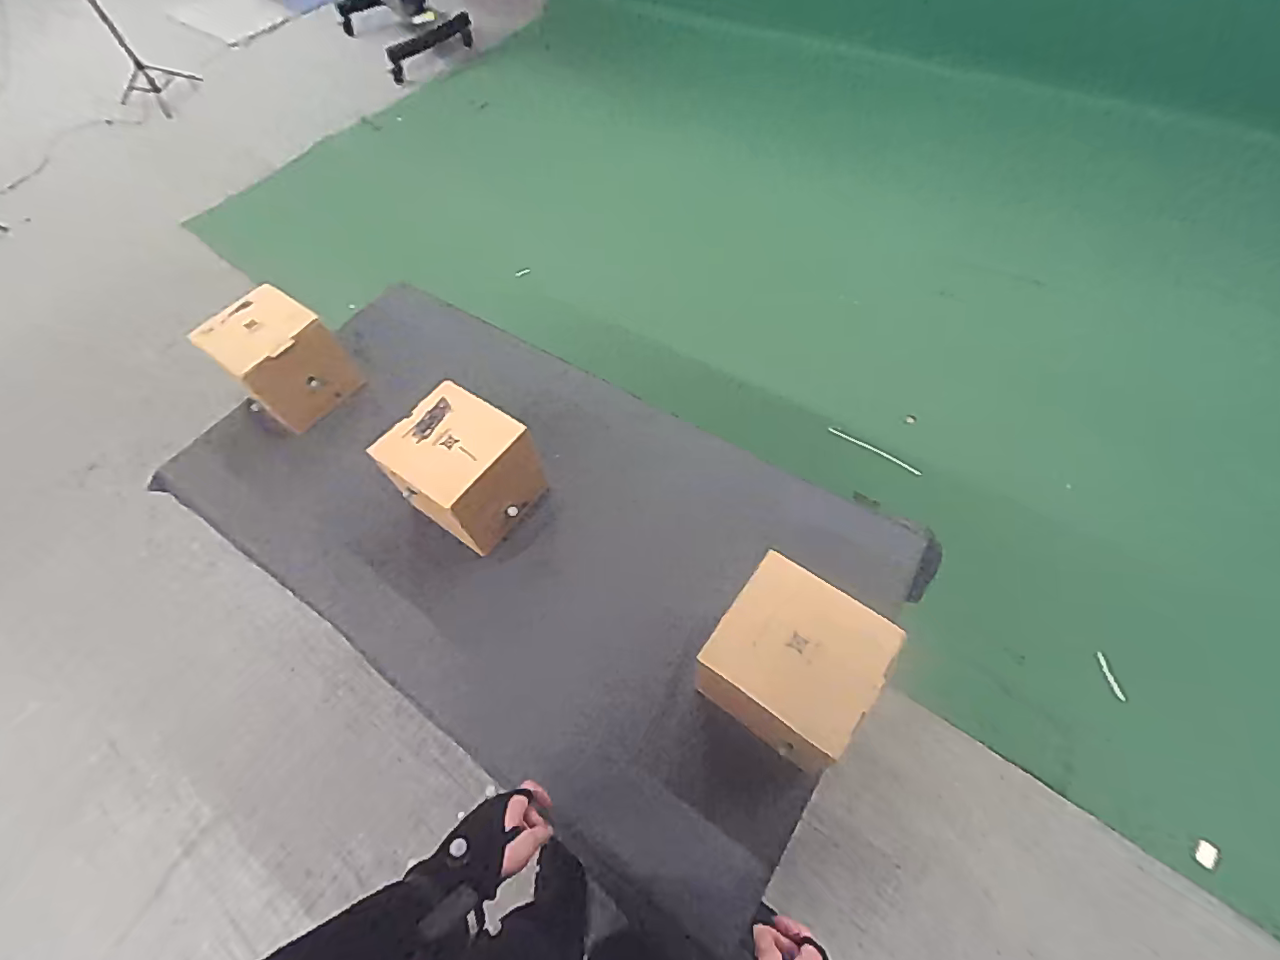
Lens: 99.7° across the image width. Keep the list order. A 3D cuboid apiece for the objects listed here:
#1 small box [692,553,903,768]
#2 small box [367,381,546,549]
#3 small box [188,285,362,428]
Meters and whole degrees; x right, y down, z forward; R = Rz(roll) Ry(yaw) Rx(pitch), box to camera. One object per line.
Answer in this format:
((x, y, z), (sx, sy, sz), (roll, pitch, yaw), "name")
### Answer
((0.180, 0.226, 0.663), (0.179, 0.176, 0.168), (31, 65, 23), "small box")
((-0.277, -0.017, 0.852), (0.179, 0.176, 0.168), (31, 67, 20), "small box")
((-0.666, -0.222, 1.010), (0.179, 0.176, 0.168), (32, 66, 20), "small box")
